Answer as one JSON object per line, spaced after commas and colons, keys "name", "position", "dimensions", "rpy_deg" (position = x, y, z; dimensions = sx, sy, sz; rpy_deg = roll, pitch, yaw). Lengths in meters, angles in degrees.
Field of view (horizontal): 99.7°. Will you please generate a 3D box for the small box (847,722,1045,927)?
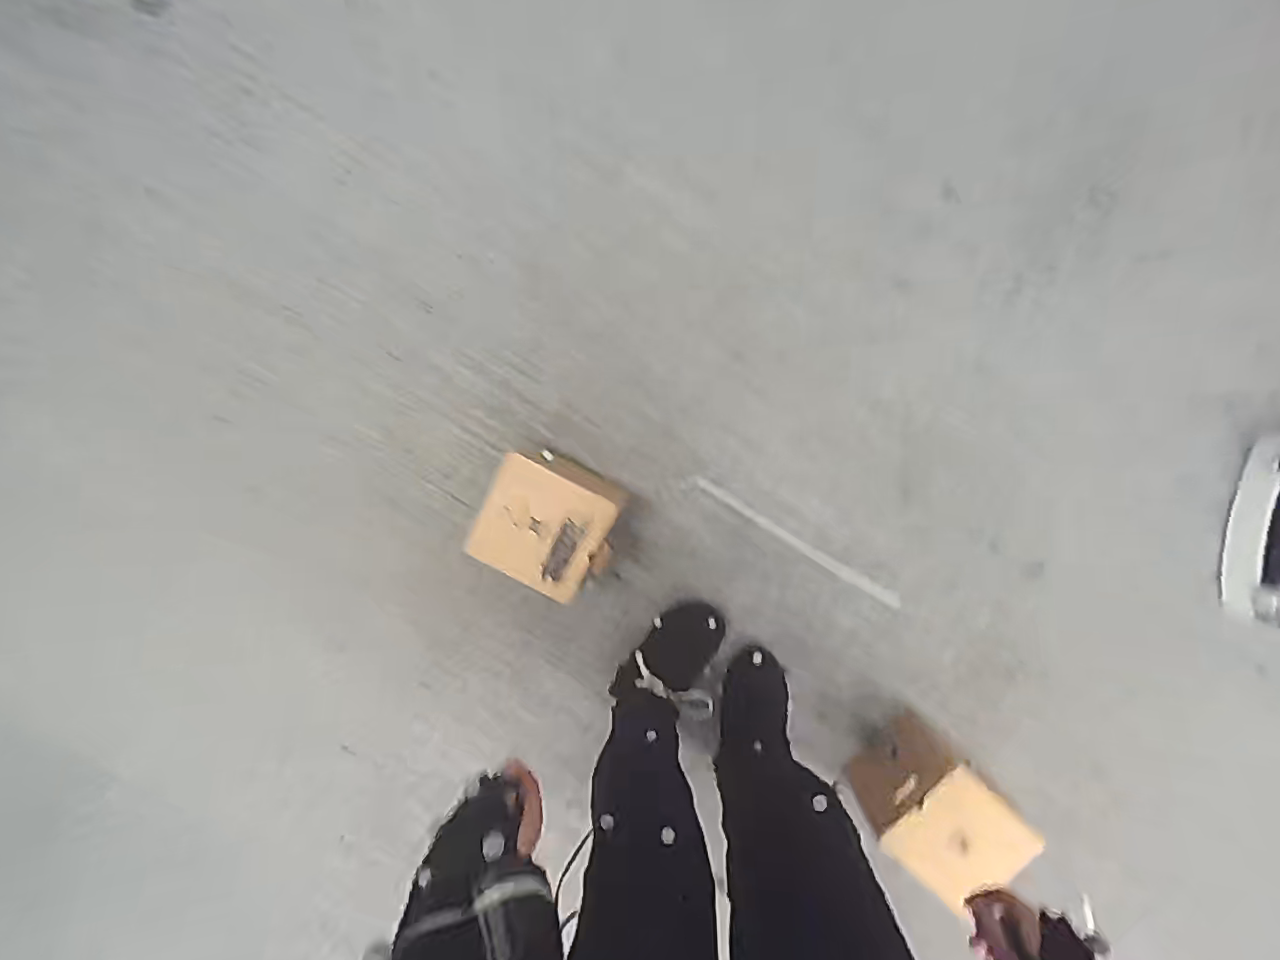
{"name": "small box", "position": [0.465, 0.526, 0.853], "dimensions": [0.179, 0.176, 0.168], "rpy_deg": [42, 96, 0]}
